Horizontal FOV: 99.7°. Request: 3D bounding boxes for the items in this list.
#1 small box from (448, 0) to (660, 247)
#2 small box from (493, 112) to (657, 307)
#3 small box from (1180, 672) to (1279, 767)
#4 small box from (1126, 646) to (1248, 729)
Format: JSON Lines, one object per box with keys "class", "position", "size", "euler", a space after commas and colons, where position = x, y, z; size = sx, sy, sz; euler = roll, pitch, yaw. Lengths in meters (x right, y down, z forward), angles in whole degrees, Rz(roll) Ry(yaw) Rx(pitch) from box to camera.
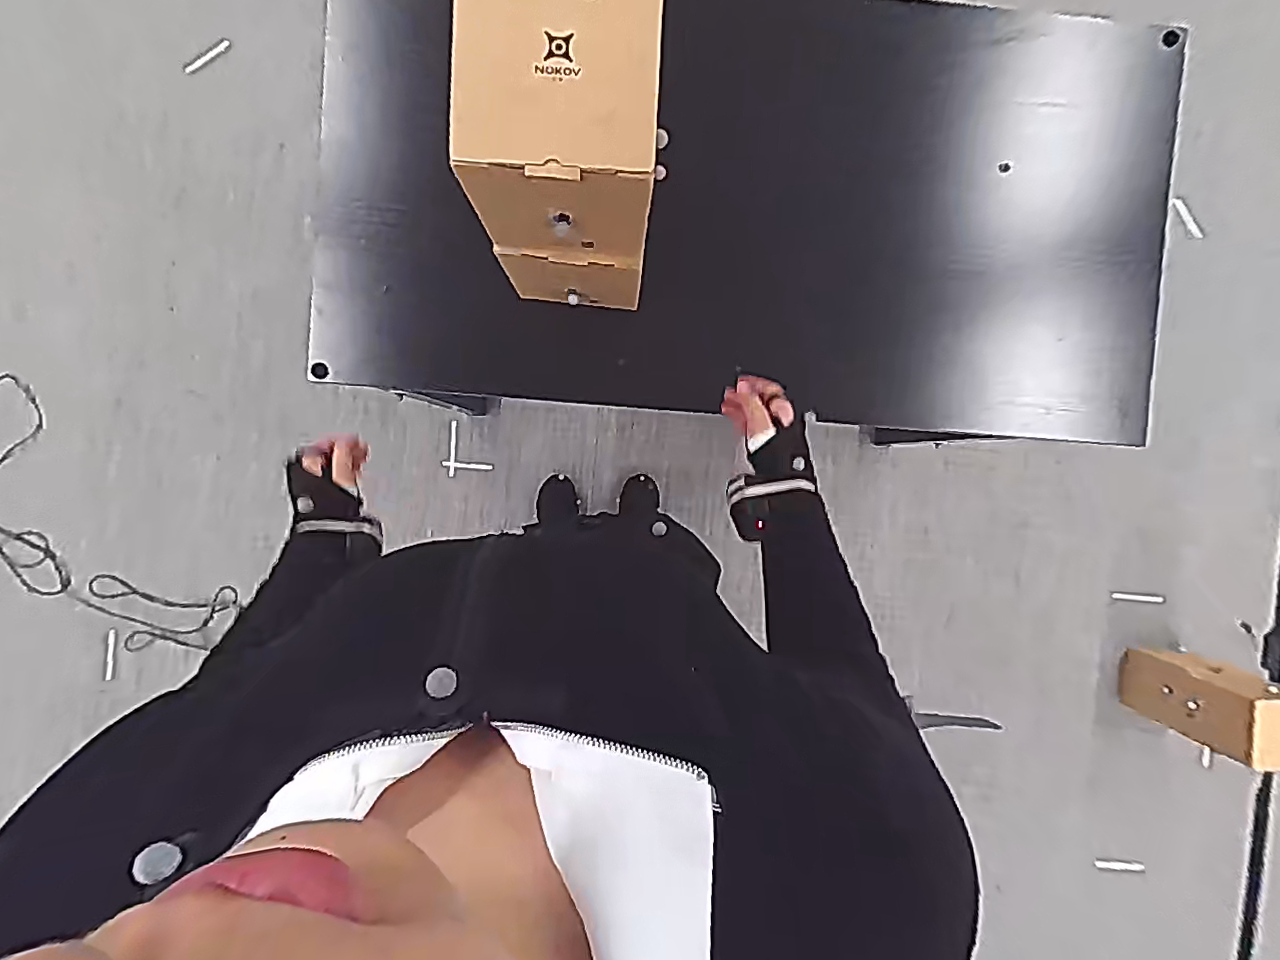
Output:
{"class": "small box", "position": [-0.070, -0.339, 0.511], "size": [0.168, 0.176, 0.179], "euler": [3, 92, -2]}
{"class": "small box", "position": [-0.075, -0.335, 0.675], "size": [0.168, 0.176, 0.179], "euler": [6, 92, -2]}
{"class": "small box", "position": [1.498, 0.581, 1.327], "size": [0.179, 0.176, 0.168], "euler": [1, 91, 0]}
{"class": "small box", "position": [1.496, 0.571, 1.489], "size": [0.168, 0.176, 0.179], "euler": [3, 93, -2]}
